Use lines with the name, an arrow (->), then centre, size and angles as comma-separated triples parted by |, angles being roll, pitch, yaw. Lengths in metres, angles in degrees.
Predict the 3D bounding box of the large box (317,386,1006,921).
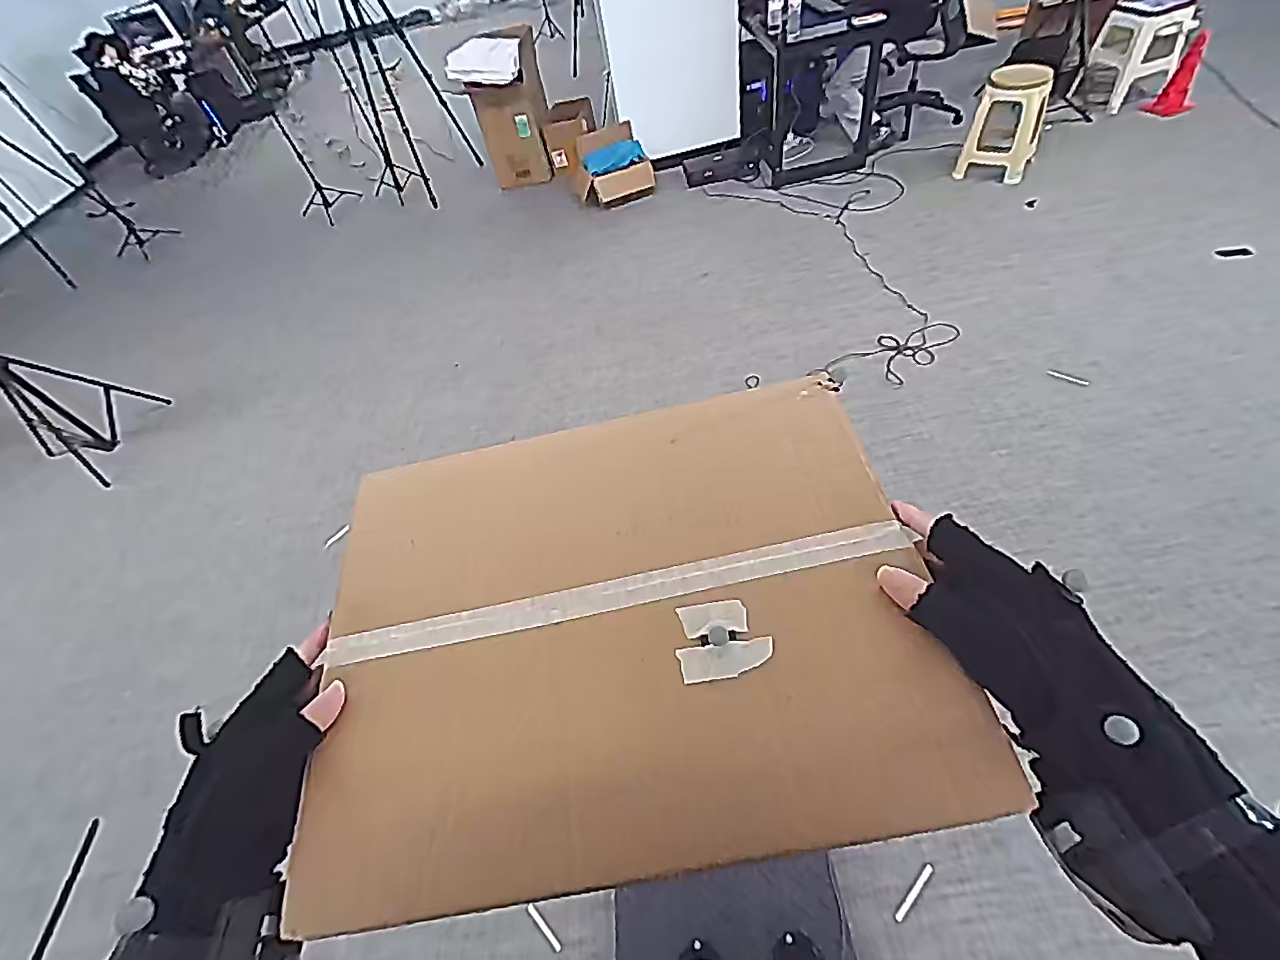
large box -> 0.007, 0.166, 0.505 | 0.408, 0.320, 0.320 | -12, 56, 2
